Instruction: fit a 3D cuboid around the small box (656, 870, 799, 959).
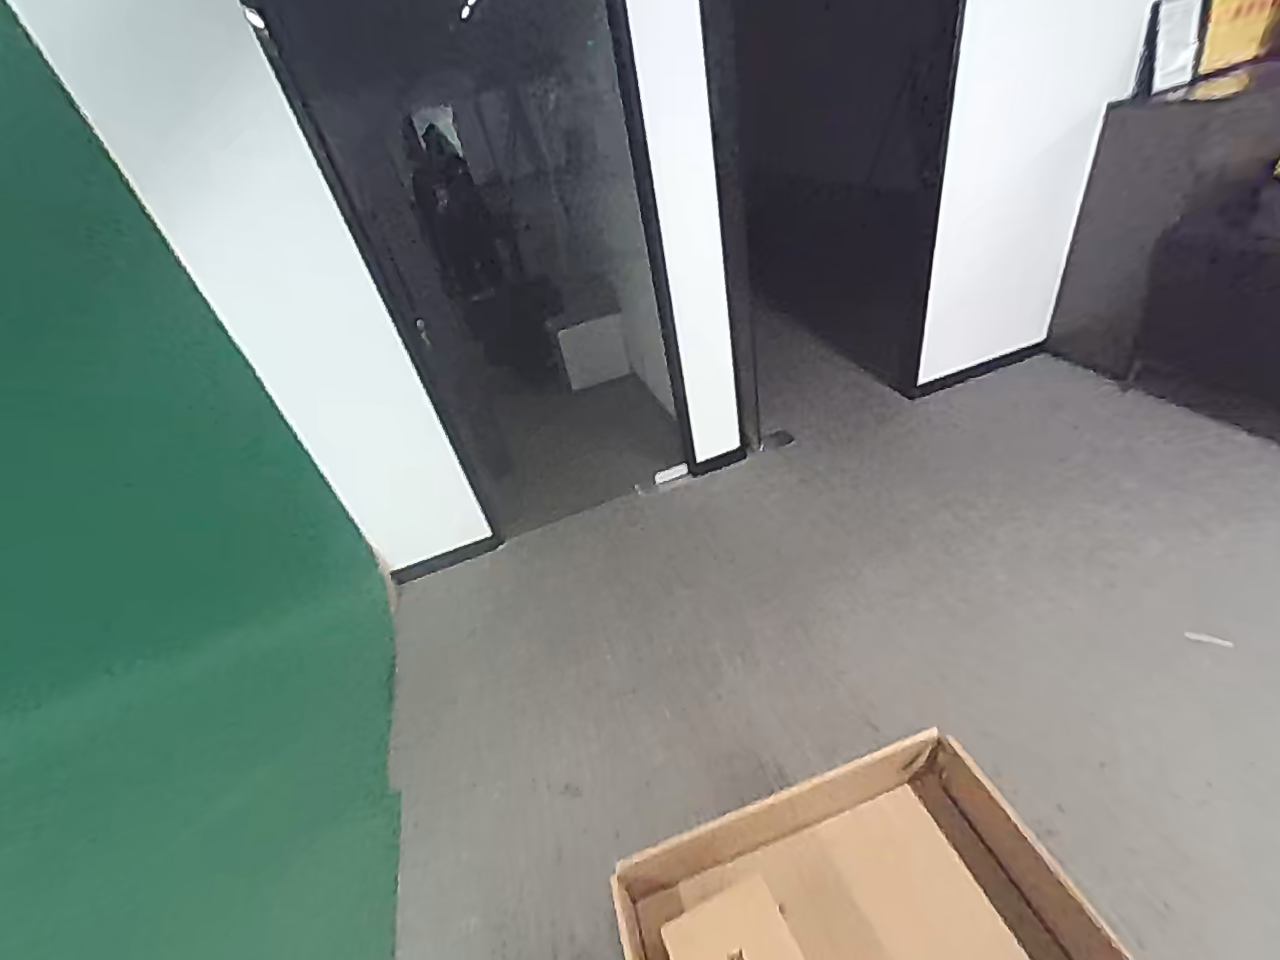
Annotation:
[{"bbox_3d":[0.139,0.703,0.754,0.168,0.176,0.179,-22,37,-10],"label":"small box"}]
